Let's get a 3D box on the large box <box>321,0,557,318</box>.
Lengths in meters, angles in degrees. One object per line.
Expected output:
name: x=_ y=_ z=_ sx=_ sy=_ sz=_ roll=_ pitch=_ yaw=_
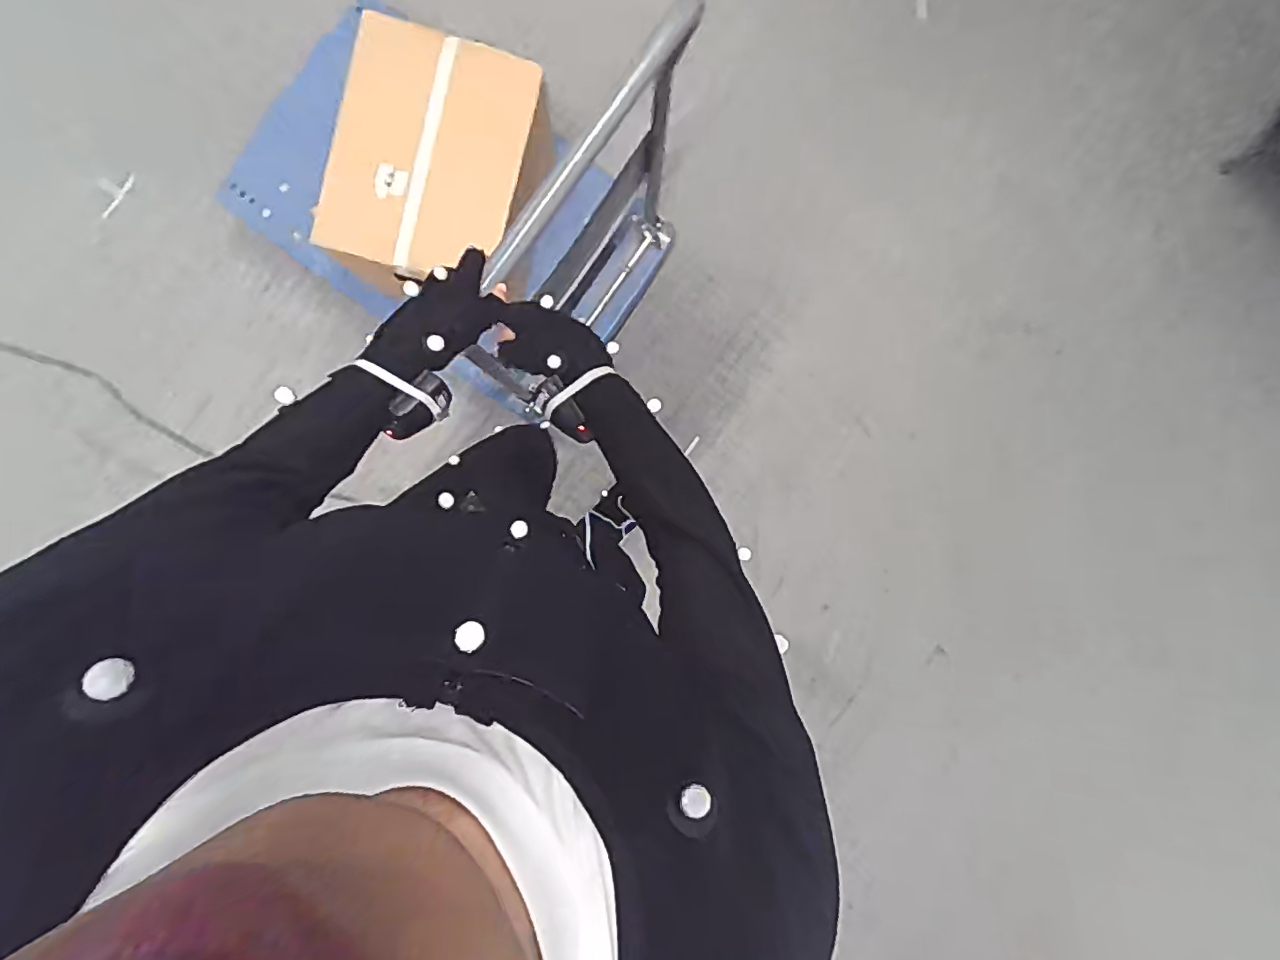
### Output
large box: x=-0.366 y=-0.589 z=1.078 sx=0.320 sy=0.320 sz=0.408 roll=16 pitch=93 yaw=-6
